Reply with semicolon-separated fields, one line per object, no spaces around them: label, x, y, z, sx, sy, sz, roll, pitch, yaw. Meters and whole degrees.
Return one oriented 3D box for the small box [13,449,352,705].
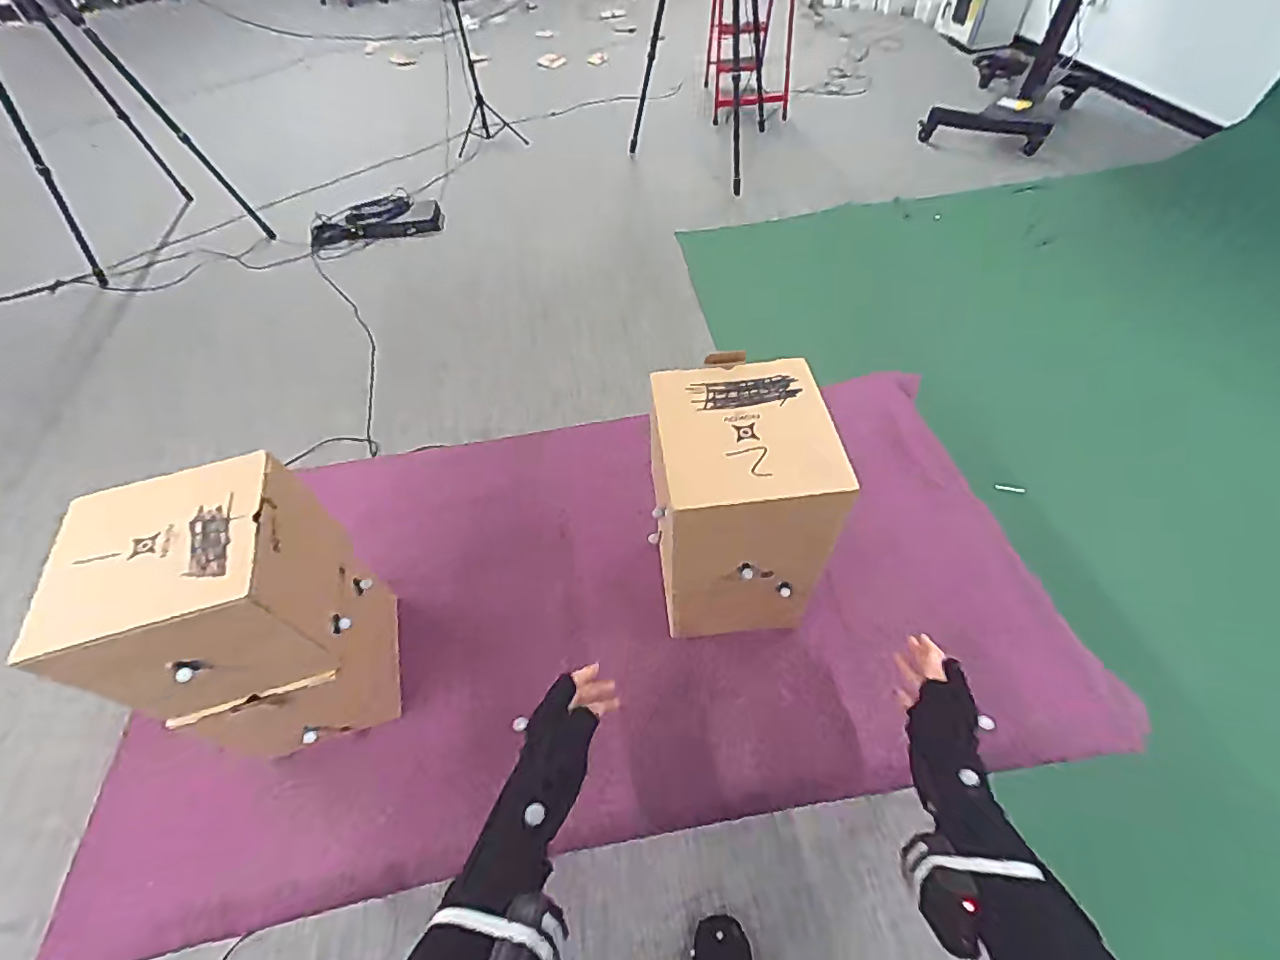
small box;-0.412;0.099;0.533;0.179;0.176;0.168;-13;52;-6

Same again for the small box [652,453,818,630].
small box;0.114;0.086;0.714;0.179;0.176;0.168;-6;53;0

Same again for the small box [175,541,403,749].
small box;-0.407;0.203;0.664;0.168;0.176;0.179;-16;54;-7
